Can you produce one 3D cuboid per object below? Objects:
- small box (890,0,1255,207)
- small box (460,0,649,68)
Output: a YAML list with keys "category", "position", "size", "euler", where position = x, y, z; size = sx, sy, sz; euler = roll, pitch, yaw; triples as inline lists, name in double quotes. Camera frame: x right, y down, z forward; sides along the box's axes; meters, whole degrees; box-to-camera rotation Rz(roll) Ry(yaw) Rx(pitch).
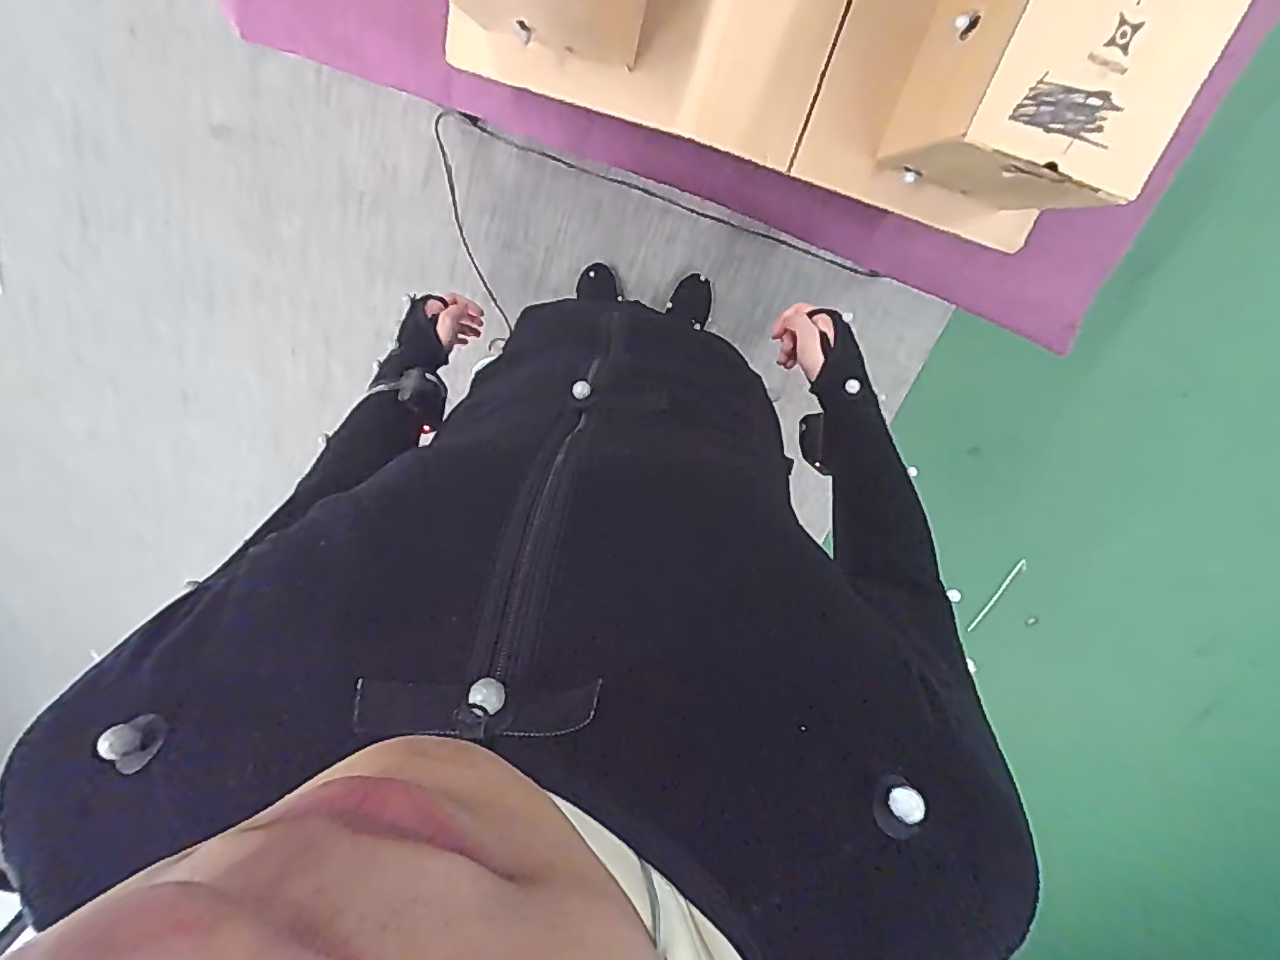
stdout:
- category: "small box"
  position: [0.358, -0.361, 0.484]
  size: [0.168, 0.176, 0.179]
  euler: [14, 113, -9]
- category: "small box"
  position: [-0.078, -0.491, 0.455]
  size: [0.168, 0.176, 0.179]
  euler: [18, 115, 6]
